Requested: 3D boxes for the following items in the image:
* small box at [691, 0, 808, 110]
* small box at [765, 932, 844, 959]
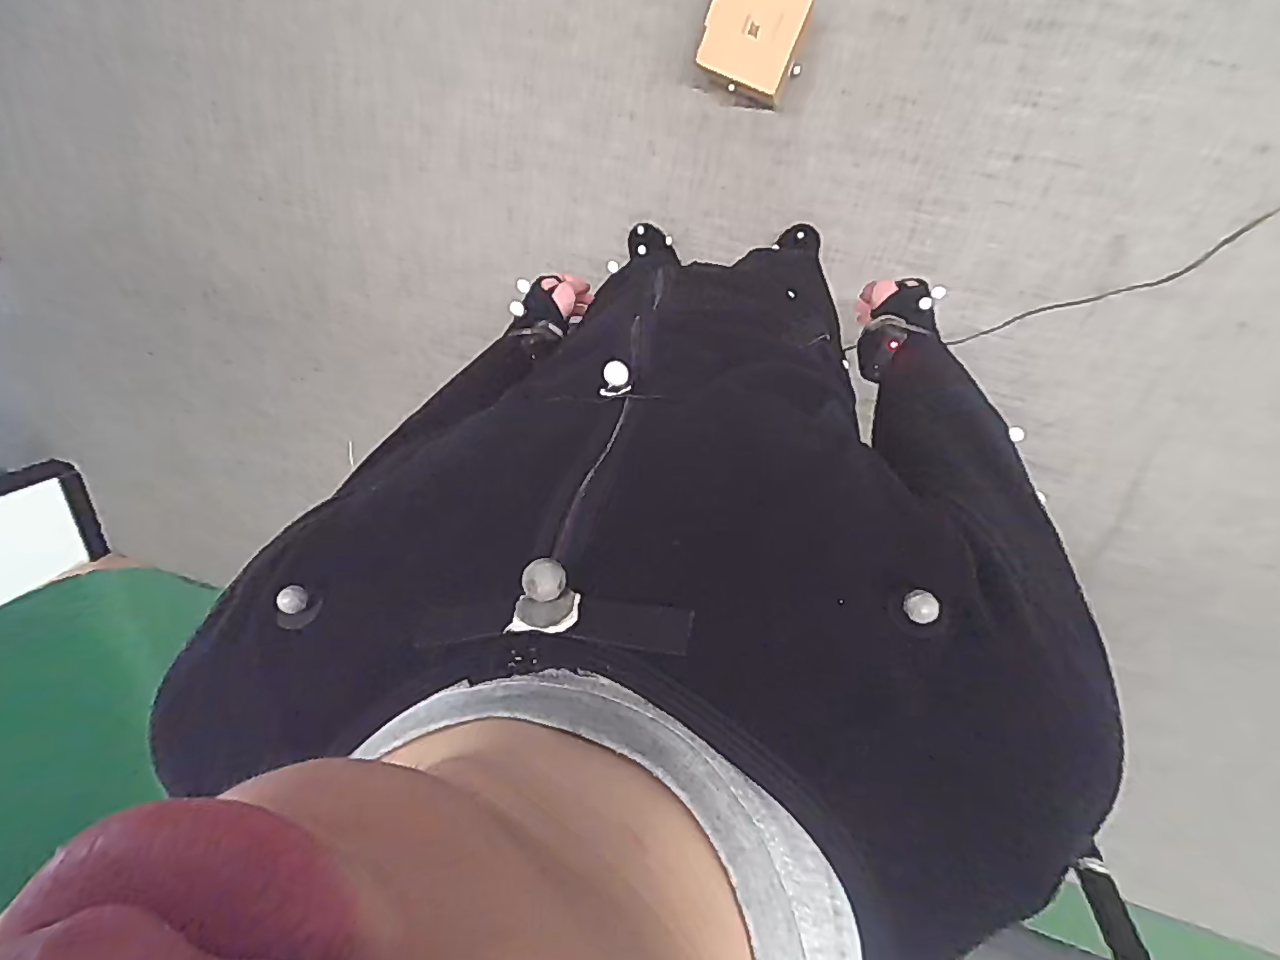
[{"bbox_3d":[0.227,-0.894,1.118,0.179,0.176,0.168,25,121,2],"label":"small box"},{"bbox_3d":[0.384,1.217,1.264,0.168,0.176,0.179,14,117,8],"label":"small box"}]
